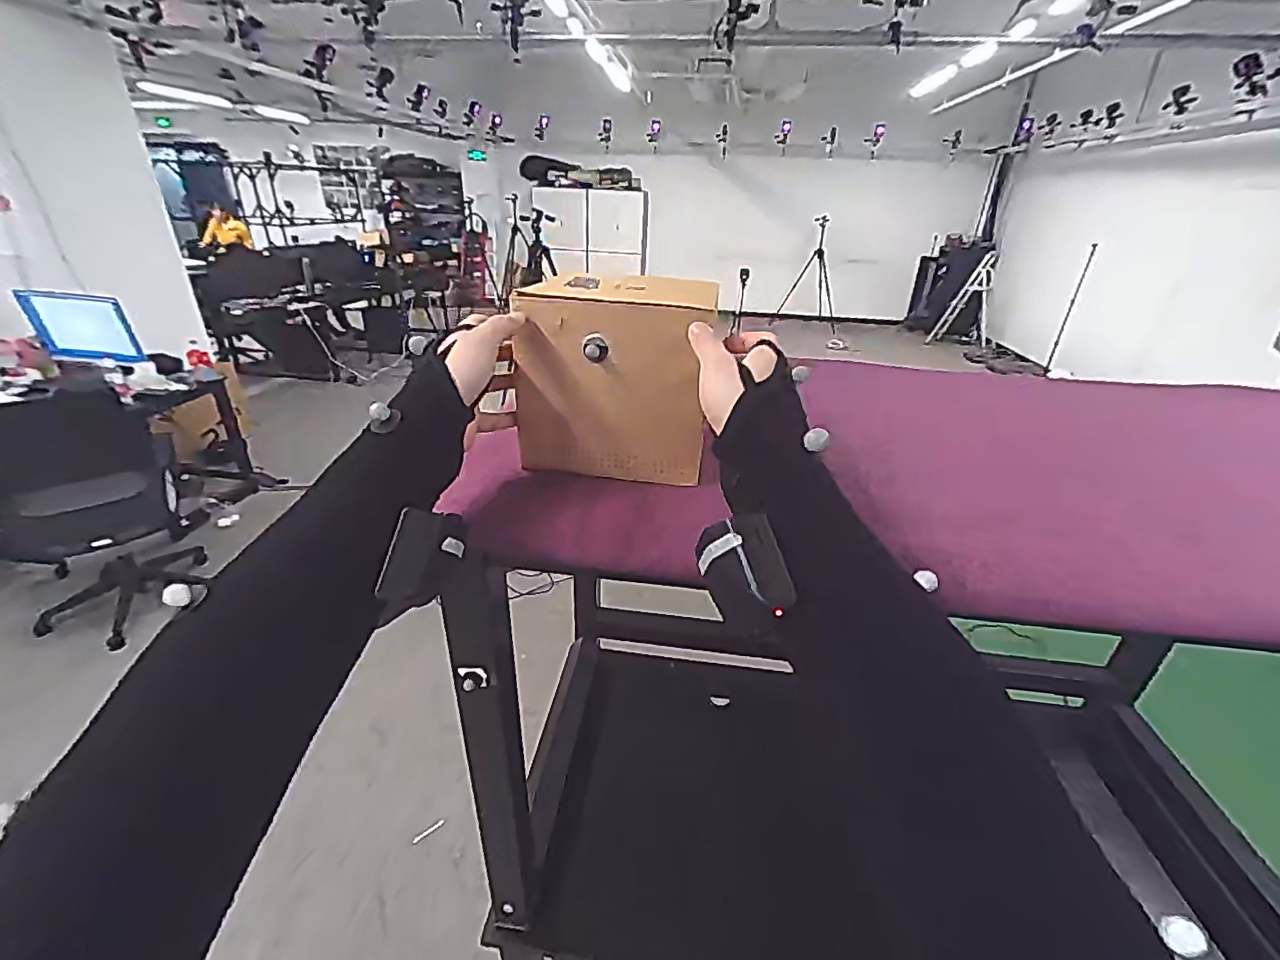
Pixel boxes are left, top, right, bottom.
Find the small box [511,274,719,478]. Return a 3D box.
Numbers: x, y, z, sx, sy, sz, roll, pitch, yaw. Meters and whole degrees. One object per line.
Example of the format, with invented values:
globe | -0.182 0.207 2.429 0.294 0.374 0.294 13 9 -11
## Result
small box | -0.017 -0.113 0.557 0.179 0.176 0.168 7 27 7
